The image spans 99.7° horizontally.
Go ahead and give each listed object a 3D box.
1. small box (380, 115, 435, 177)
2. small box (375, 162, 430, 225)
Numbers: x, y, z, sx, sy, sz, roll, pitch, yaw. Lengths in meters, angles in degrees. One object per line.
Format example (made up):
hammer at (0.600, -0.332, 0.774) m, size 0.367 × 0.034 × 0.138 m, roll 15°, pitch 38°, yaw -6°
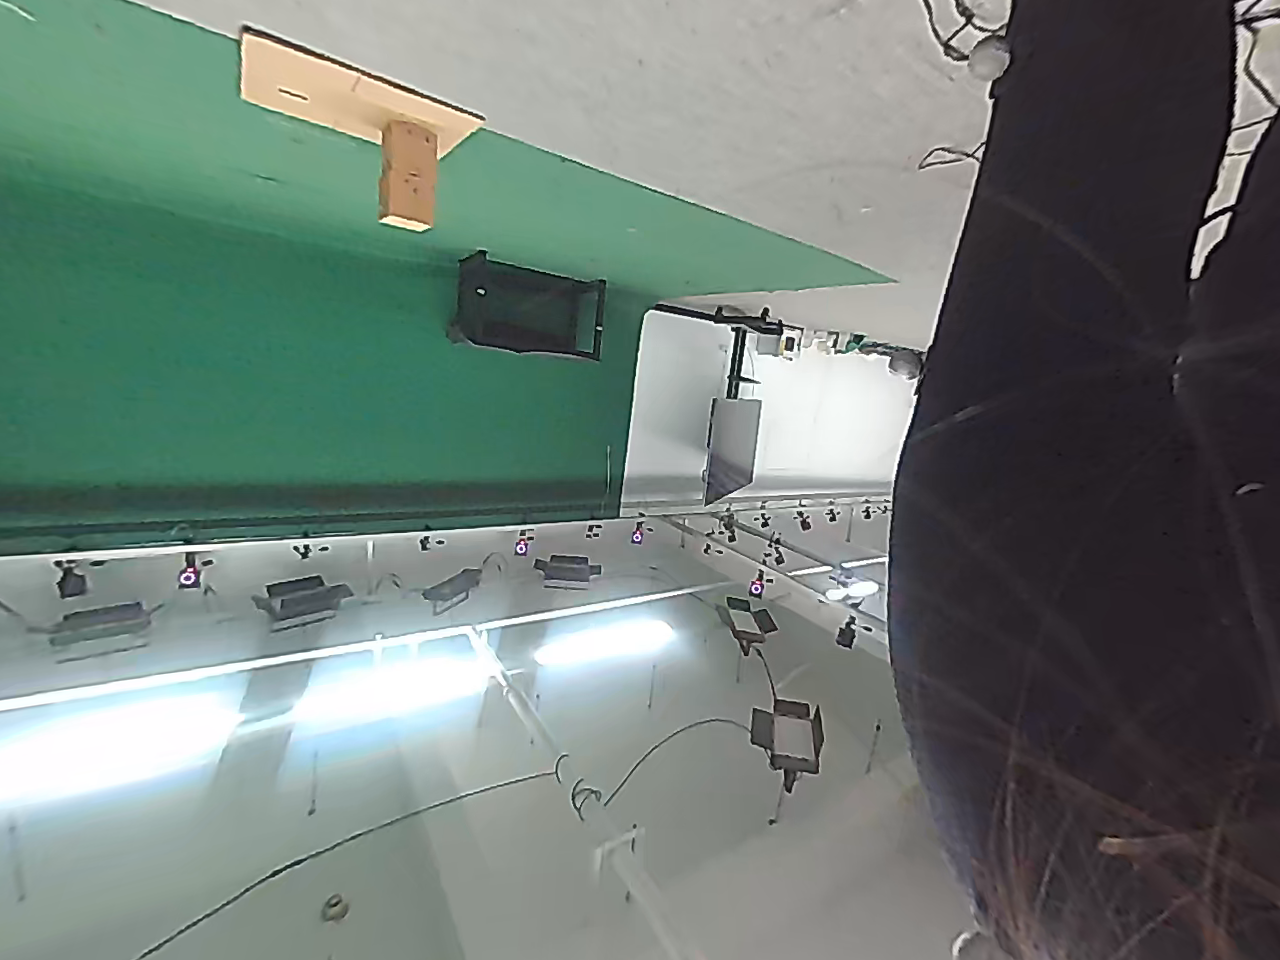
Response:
small box at (-0.906, -1.283, 2.097) m, size 0.168 × 0.176 × 0.179 m, roll -3°, pitch -164°, yaw -38°
small box at (-0.937, -1.128, 2.137) m, size 0.168 × 0.176 × 0.179 m, roll -2°, pitch -165°, yaw -39°
